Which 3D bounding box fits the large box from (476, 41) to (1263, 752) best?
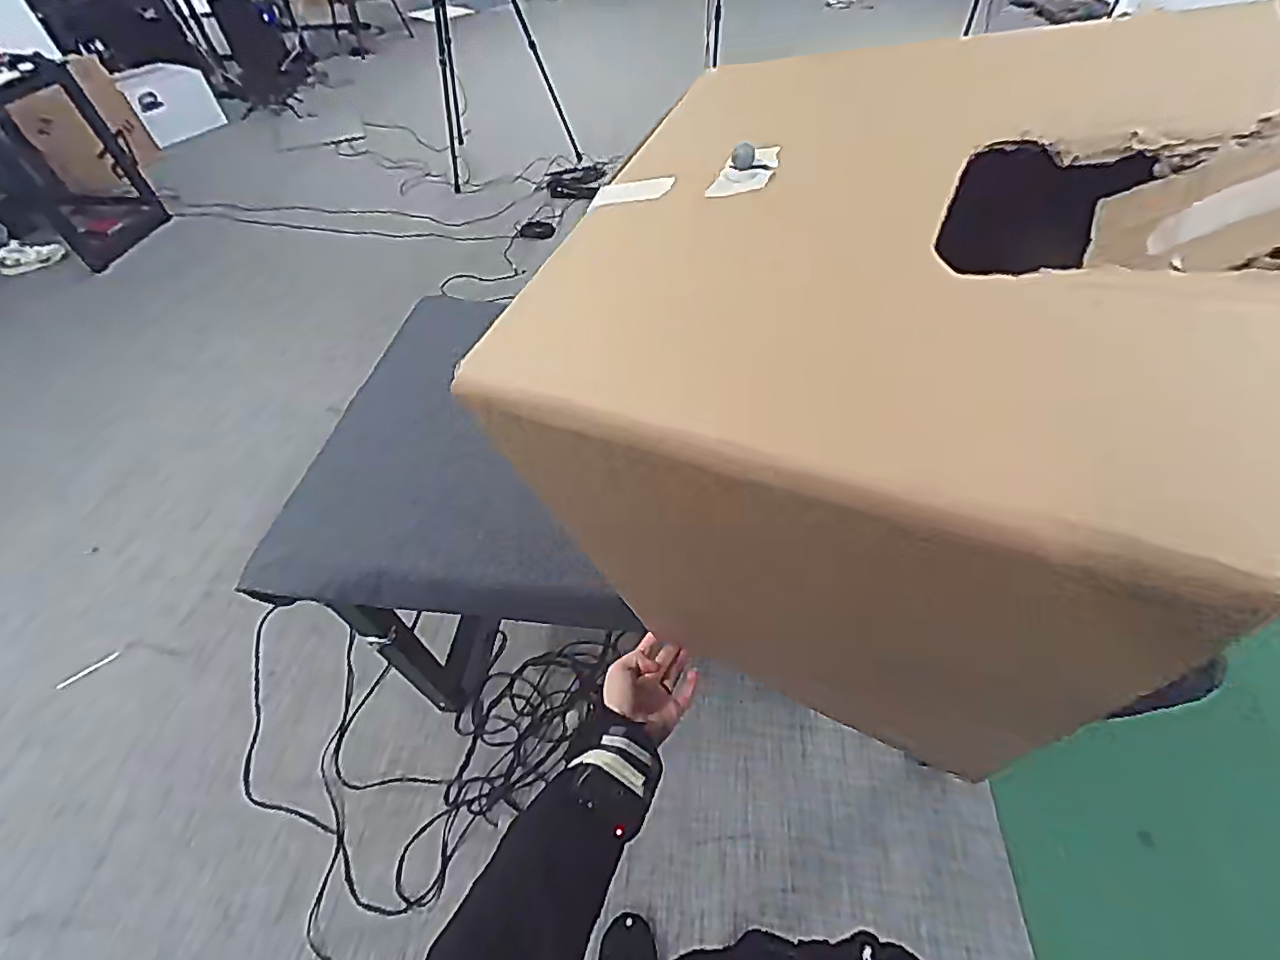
[{"bbox_3d":[0.154,-0.028,0.430,0.320,0.408,0.320,17,65,27],"label":"large box"}]
